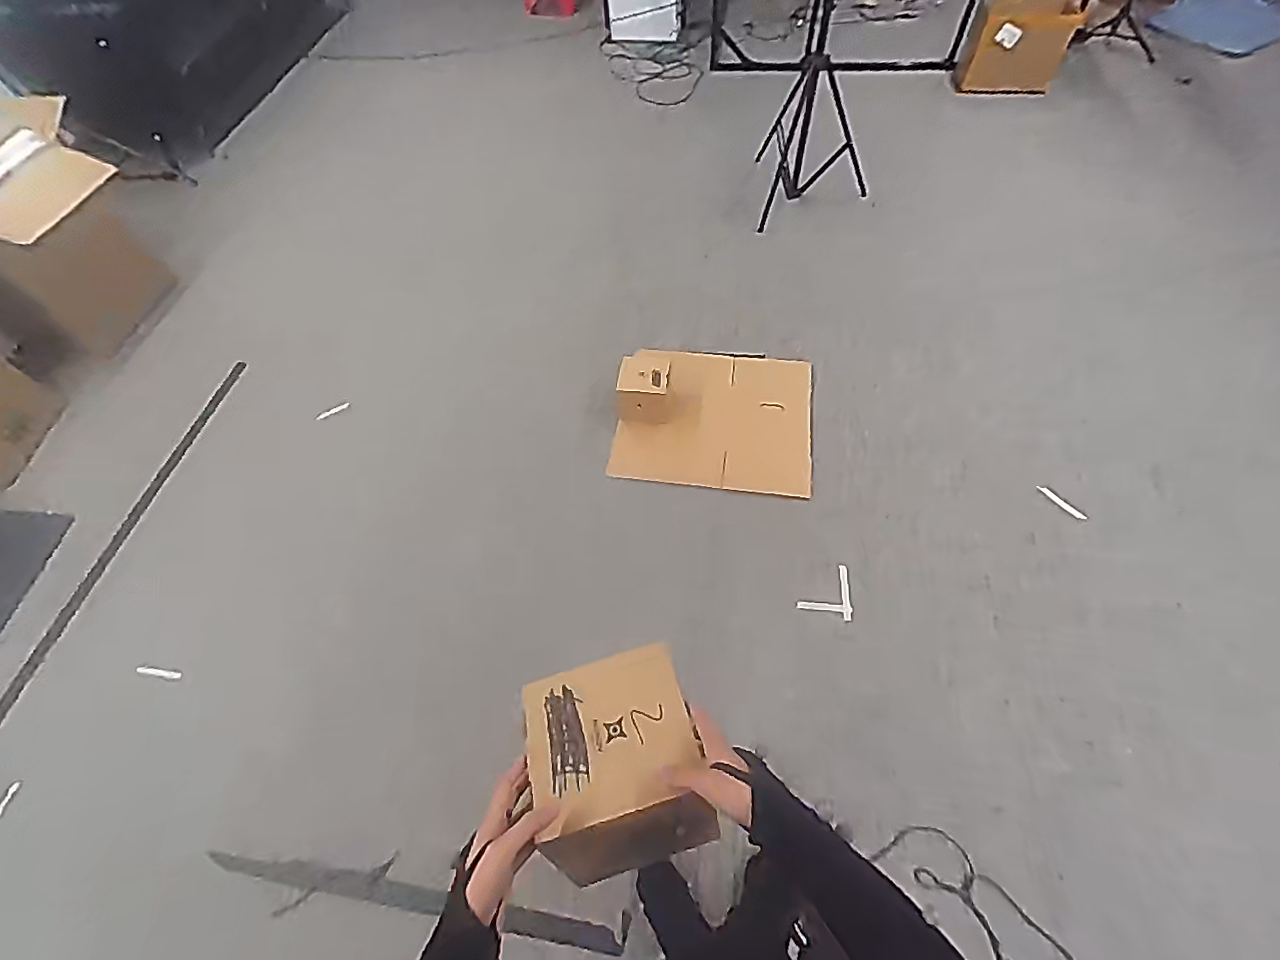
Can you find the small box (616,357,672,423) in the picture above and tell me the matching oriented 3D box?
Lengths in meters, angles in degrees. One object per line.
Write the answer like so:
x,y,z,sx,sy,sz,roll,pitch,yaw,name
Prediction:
0.021,-0.323,1.959,0.179,0.176,0.168,6,59,9,small box
